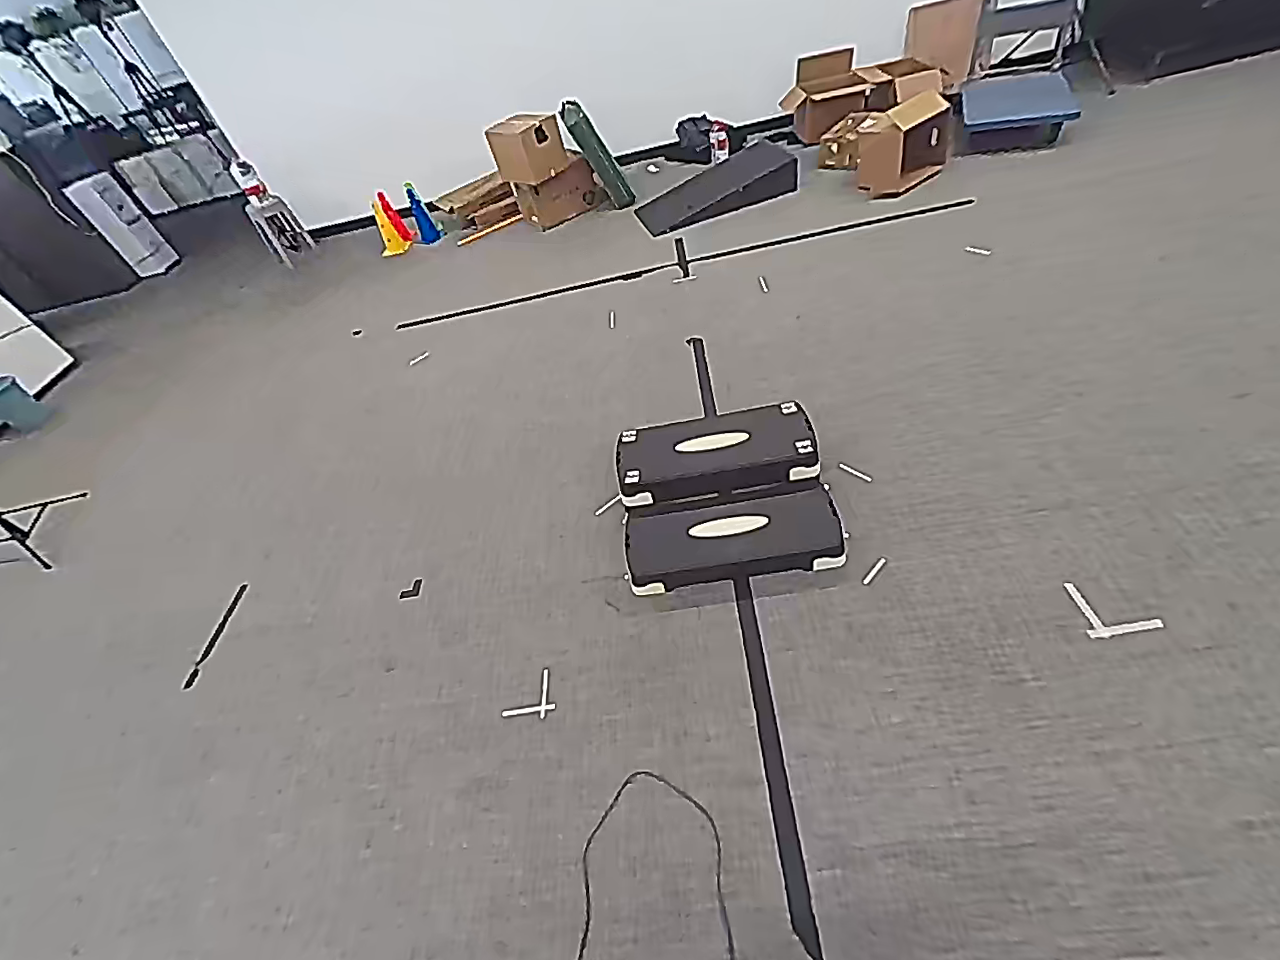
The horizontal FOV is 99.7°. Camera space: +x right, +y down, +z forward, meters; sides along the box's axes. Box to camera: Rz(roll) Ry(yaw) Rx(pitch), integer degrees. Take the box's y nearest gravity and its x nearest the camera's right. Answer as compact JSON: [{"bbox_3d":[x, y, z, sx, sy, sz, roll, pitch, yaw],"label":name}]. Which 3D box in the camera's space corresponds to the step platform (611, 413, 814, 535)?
[{"bbox_3d":[0.240,-0.025,1.872,0.684,0.204,0.286,-10,46,5],"label":"step platform"}]
